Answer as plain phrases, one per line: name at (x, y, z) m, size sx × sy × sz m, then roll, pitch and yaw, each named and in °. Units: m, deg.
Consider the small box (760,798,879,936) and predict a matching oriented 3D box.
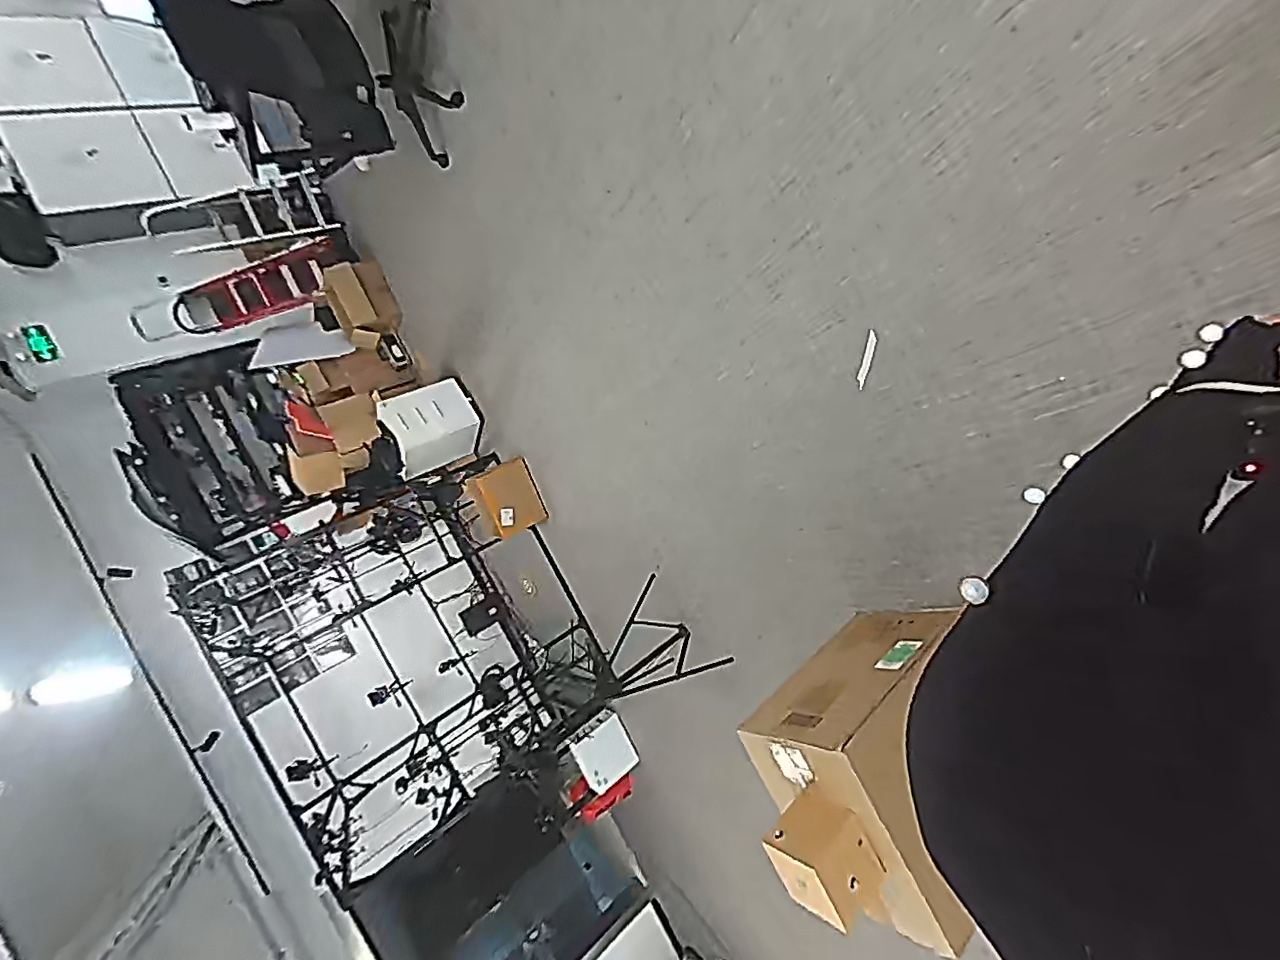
small box at (0.422, 0.880, 1.252) m, size 0.168 × 0.176 × 0.179 m, roll 62°, pitch 150°, yaw -1°
